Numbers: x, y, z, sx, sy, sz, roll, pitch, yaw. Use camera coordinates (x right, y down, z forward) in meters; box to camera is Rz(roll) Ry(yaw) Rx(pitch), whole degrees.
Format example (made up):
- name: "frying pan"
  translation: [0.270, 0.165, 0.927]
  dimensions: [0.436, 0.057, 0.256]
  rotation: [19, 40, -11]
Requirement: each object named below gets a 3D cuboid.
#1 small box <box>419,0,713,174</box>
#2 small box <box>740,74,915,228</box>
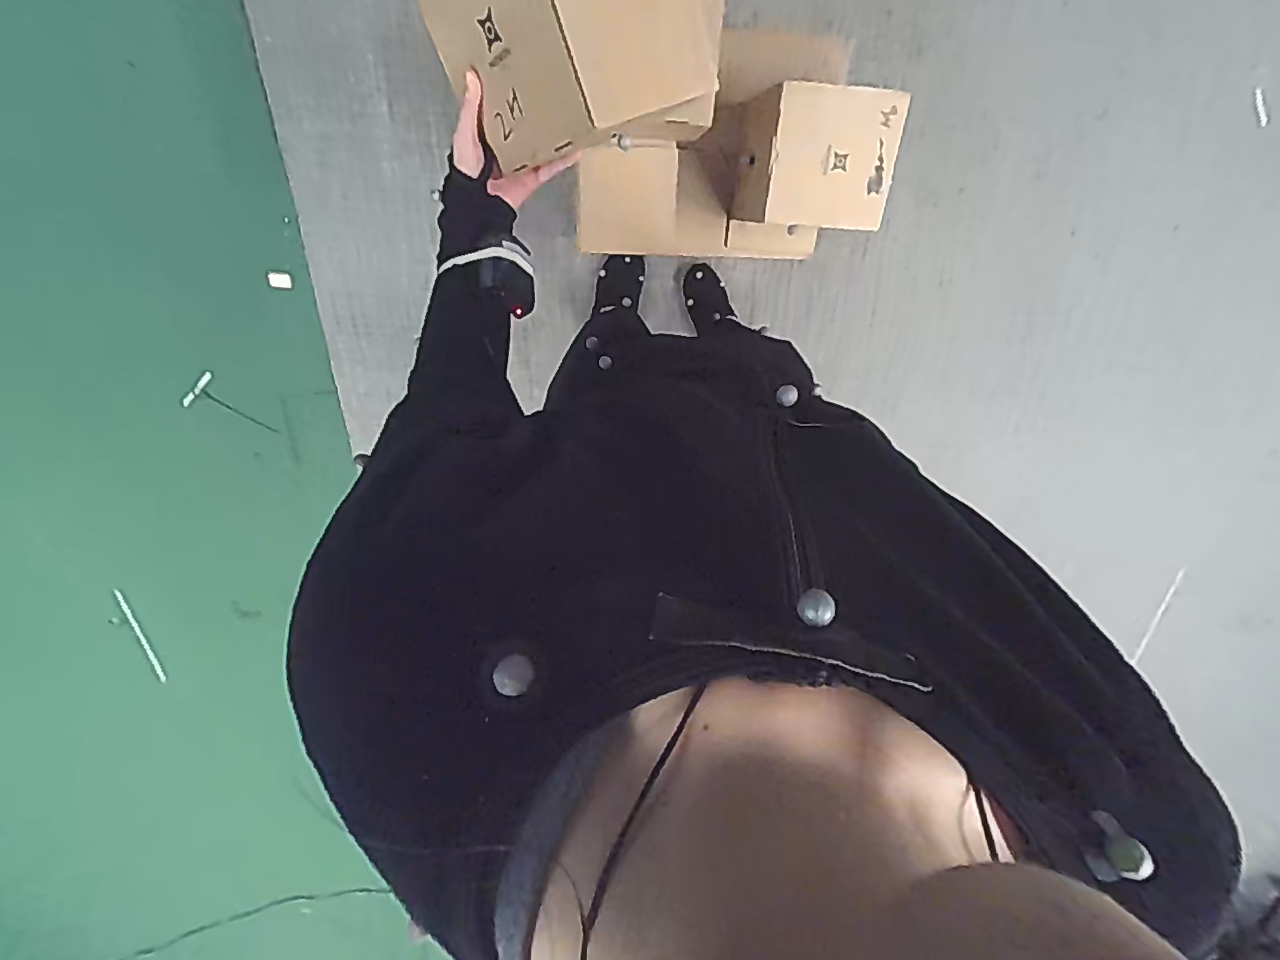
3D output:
- name: "small box"
  translation: [-0.063, -0.403, 0.474]
  dimensions: [0.176, 0.168, 0.179]
  rotation: [-40, 124, -27]
- name: "small box"
  translation: [0.255, -0.467, 0.788]
  dimensions: [0.179, 0.176, 0.168]
  rotation: [2, 118, -6]
